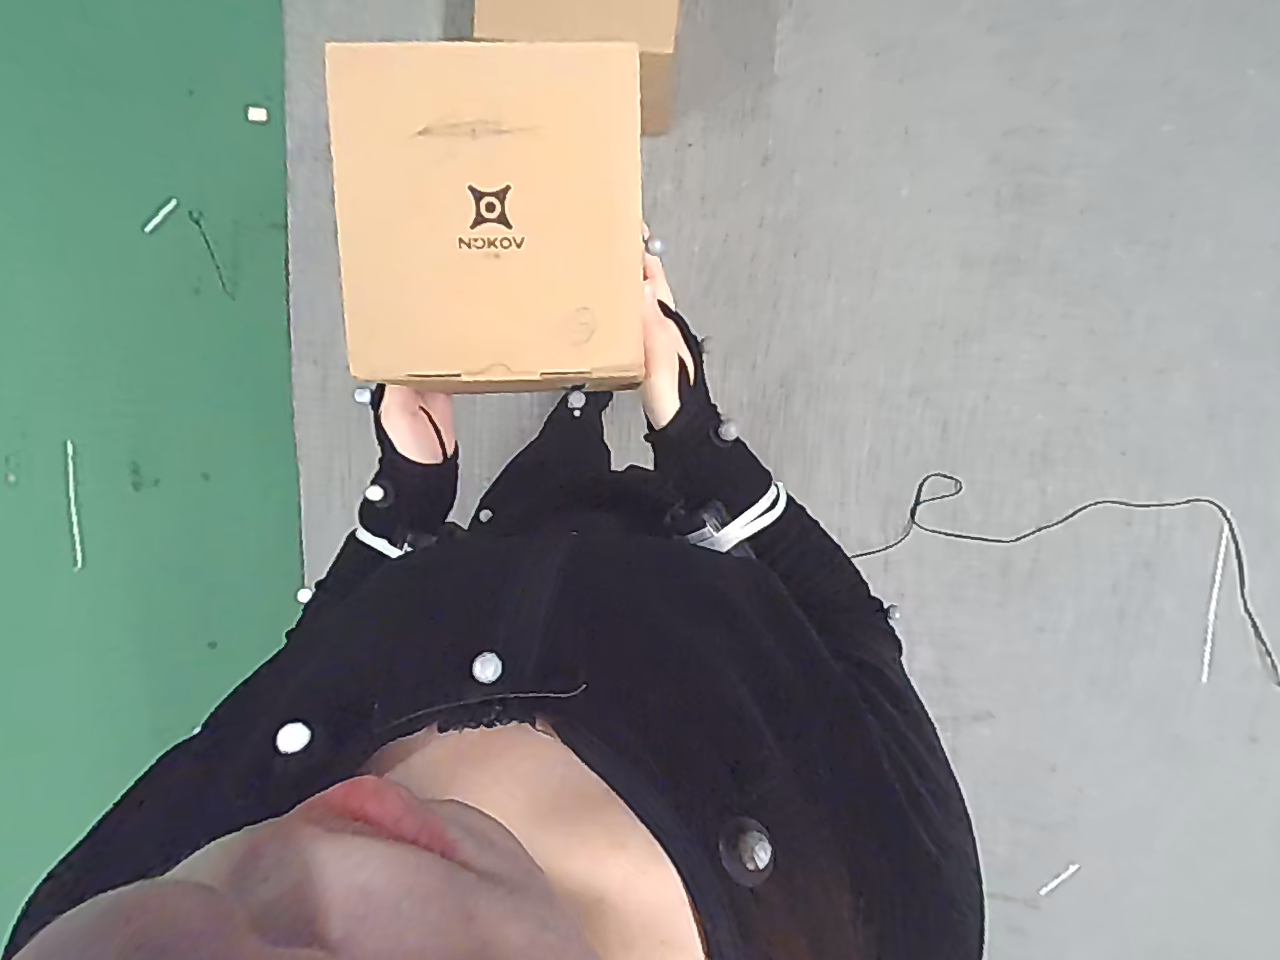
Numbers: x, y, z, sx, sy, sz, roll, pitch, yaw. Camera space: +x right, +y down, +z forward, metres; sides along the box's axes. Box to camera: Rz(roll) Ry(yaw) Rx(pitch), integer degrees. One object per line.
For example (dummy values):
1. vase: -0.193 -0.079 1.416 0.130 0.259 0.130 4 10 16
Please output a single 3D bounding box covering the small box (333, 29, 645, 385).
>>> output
1. small box: -0.081 -0.157 0.373 0.168 0.176 0.179 0 97 -2
